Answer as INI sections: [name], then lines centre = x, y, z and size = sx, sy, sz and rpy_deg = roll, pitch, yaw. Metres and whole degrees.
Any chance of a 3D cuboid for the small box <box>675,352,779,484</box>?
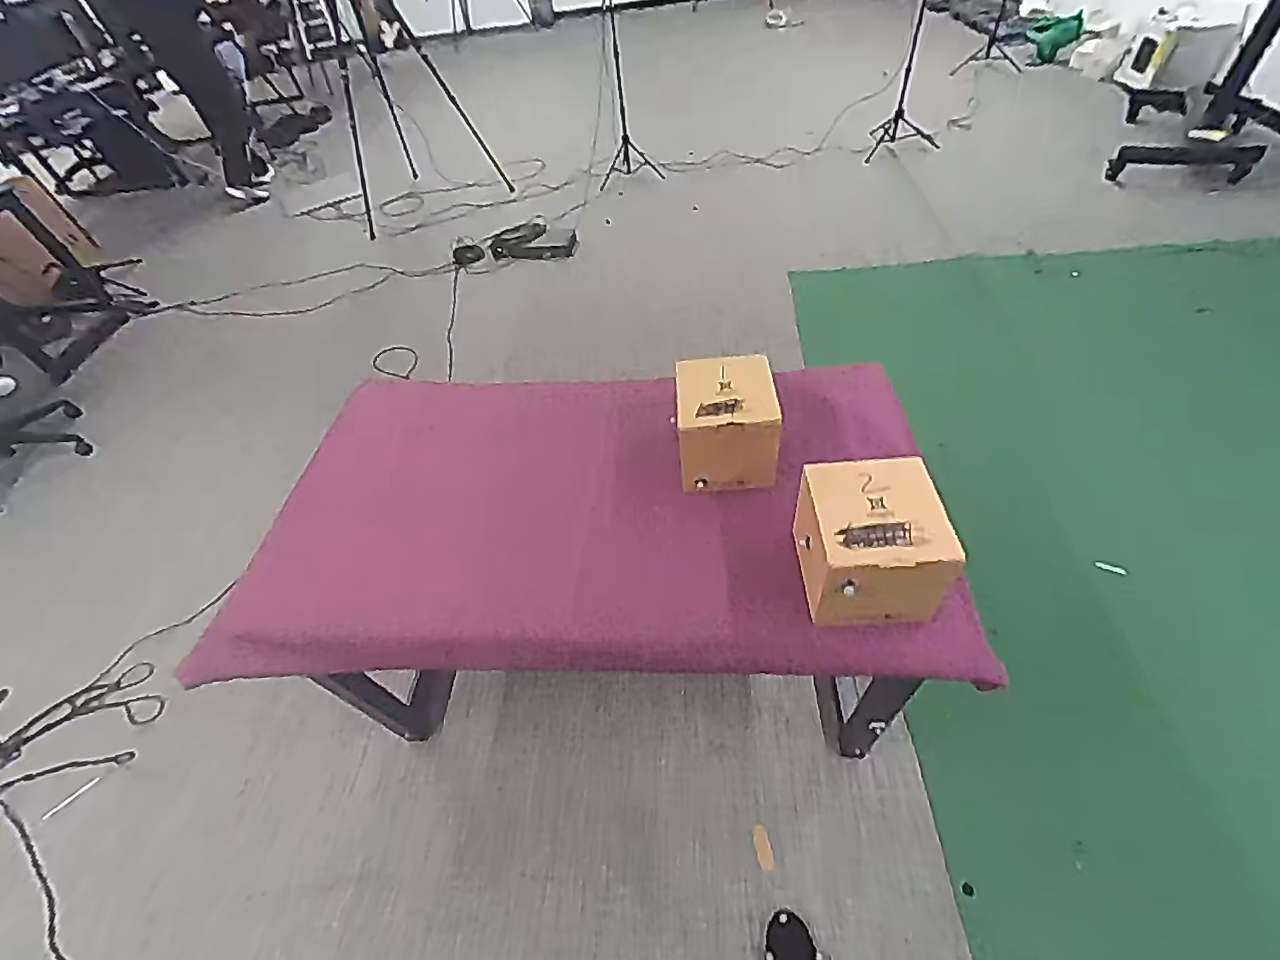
[small box]
centre = 0.151, -0.104, 0.970
size = 0.168, 0.176, 0.179
rpy_deg = -3, 49, 5
